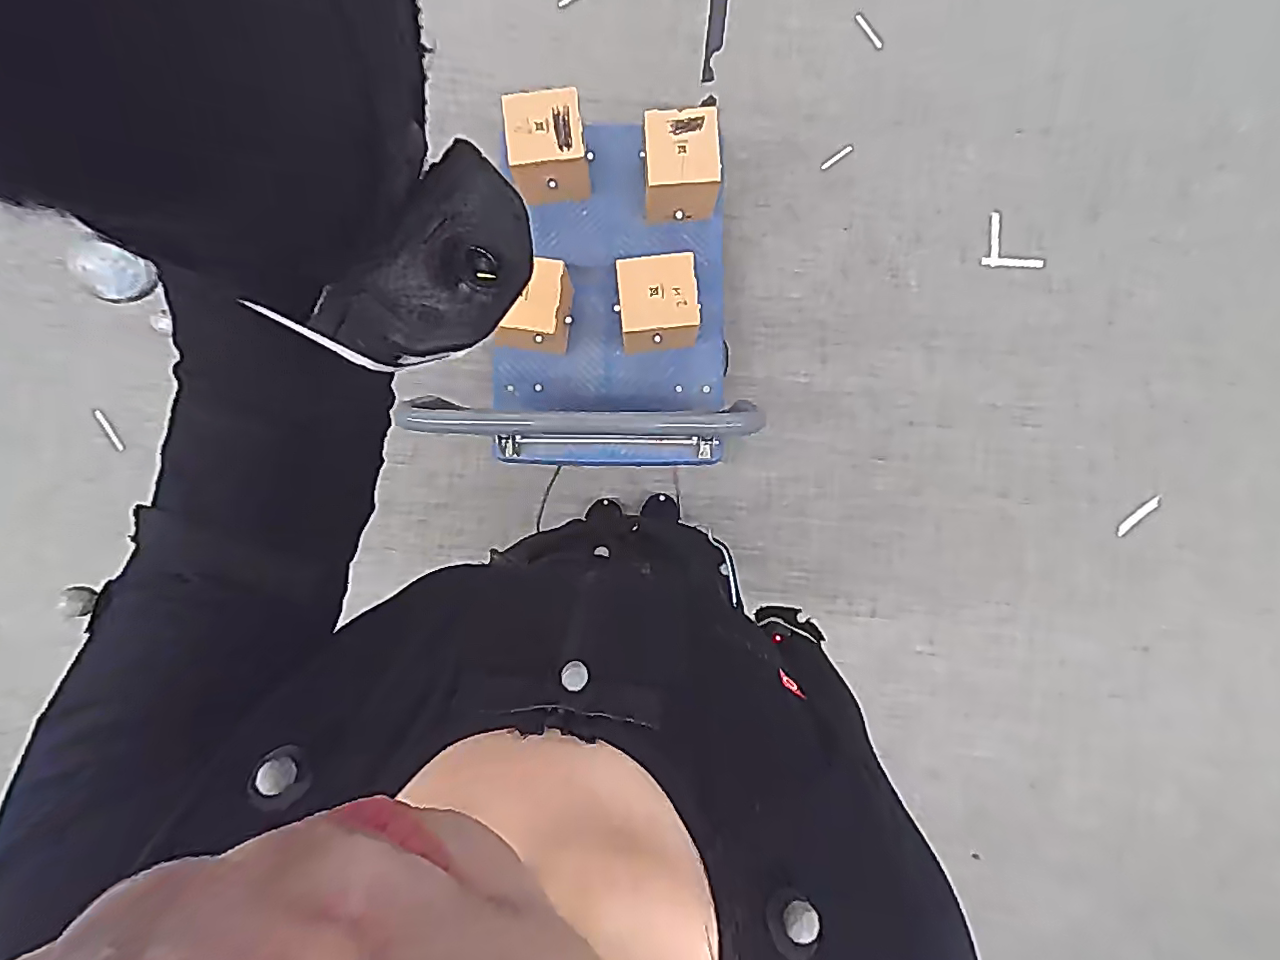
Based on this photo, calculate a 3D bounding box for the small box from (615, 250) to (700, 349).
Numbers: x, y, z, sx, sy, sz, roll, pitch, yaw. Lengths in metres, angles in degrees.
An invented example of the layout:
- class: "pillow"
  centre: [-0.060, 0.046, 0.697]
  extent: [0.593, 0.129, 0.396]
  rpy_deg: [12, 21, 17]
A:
- class: "small box"
  centre: [0.042, -0.415, 1.268]
  extent: [0.179, 0.176, 0.168]
  rpy_deg: [-6, 88, 1]

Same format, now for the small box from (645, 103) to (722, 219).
- class: "small box"
  centre: [0.096, -0.748, 1.281]
  extent: [0.168, 0.176, 0.179]
  rpy_deg: [-3, 88, 1]

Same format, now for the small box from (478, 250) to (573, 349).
- class: "small box"
  centre: [-0.263, -0.417, 1.274]
  extent: [0.179, 0.176, 0.168]
  rpy_deg: [7, 87, 0]
